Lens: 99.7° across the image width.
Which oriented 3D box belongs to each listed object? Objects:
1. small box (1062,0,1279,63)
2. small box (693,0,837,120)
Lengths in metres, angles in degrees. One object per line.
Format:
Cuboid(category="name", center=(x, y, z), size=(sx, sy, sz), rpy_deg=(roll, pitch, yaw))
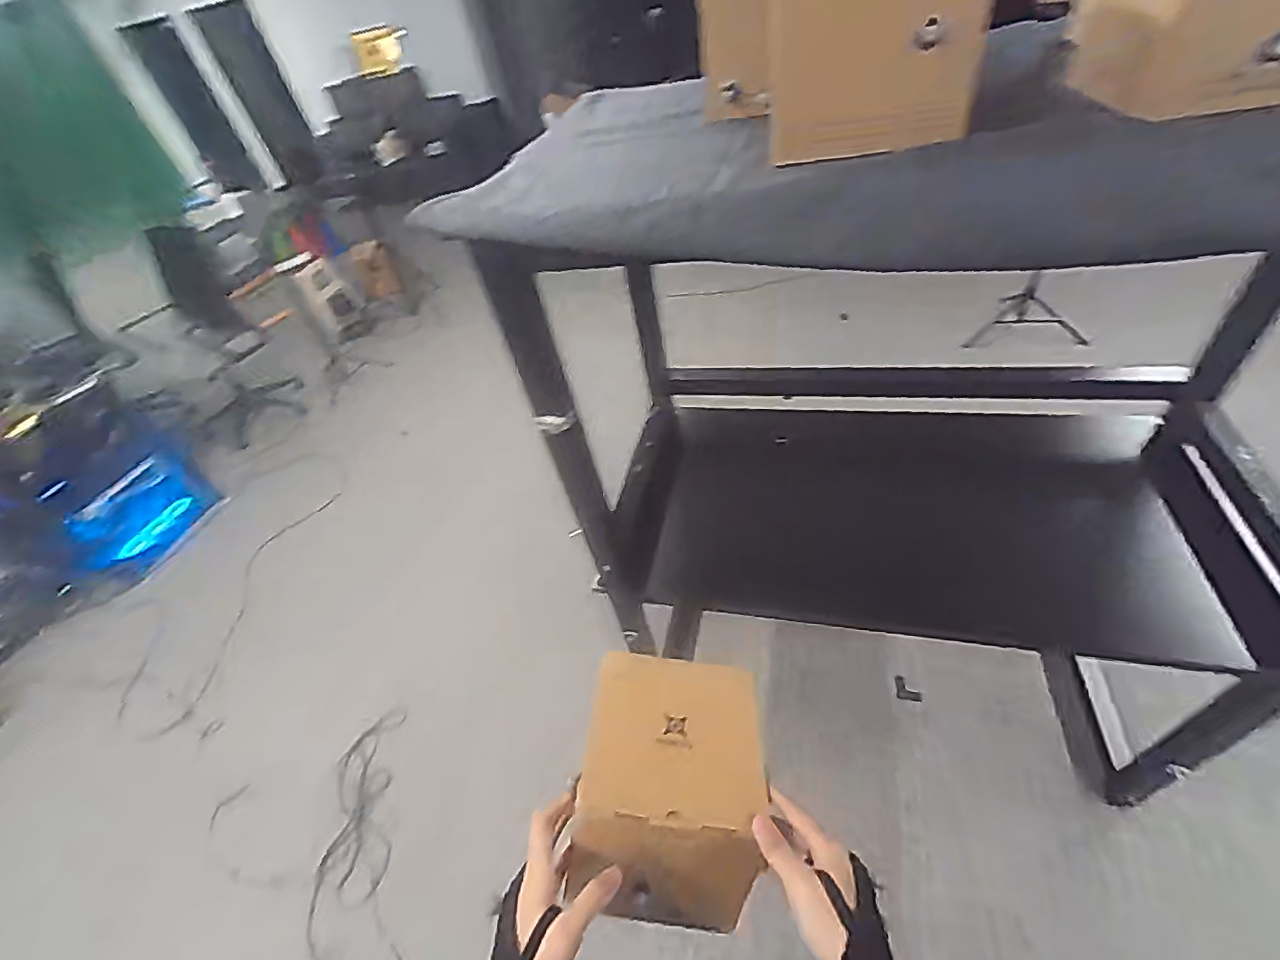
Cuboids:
Cuboid(category="small box", center=(0.601, -0.579, 0.589), size=(0.168, 0.176, 0.179), rpy_deg=(3, 45, 18))
Cuboid(category="small box", center=(0.171, -0.595, 0.715), size=(0.168, 0.176, 0.179), rpy_deg=(3, 45, 17))
